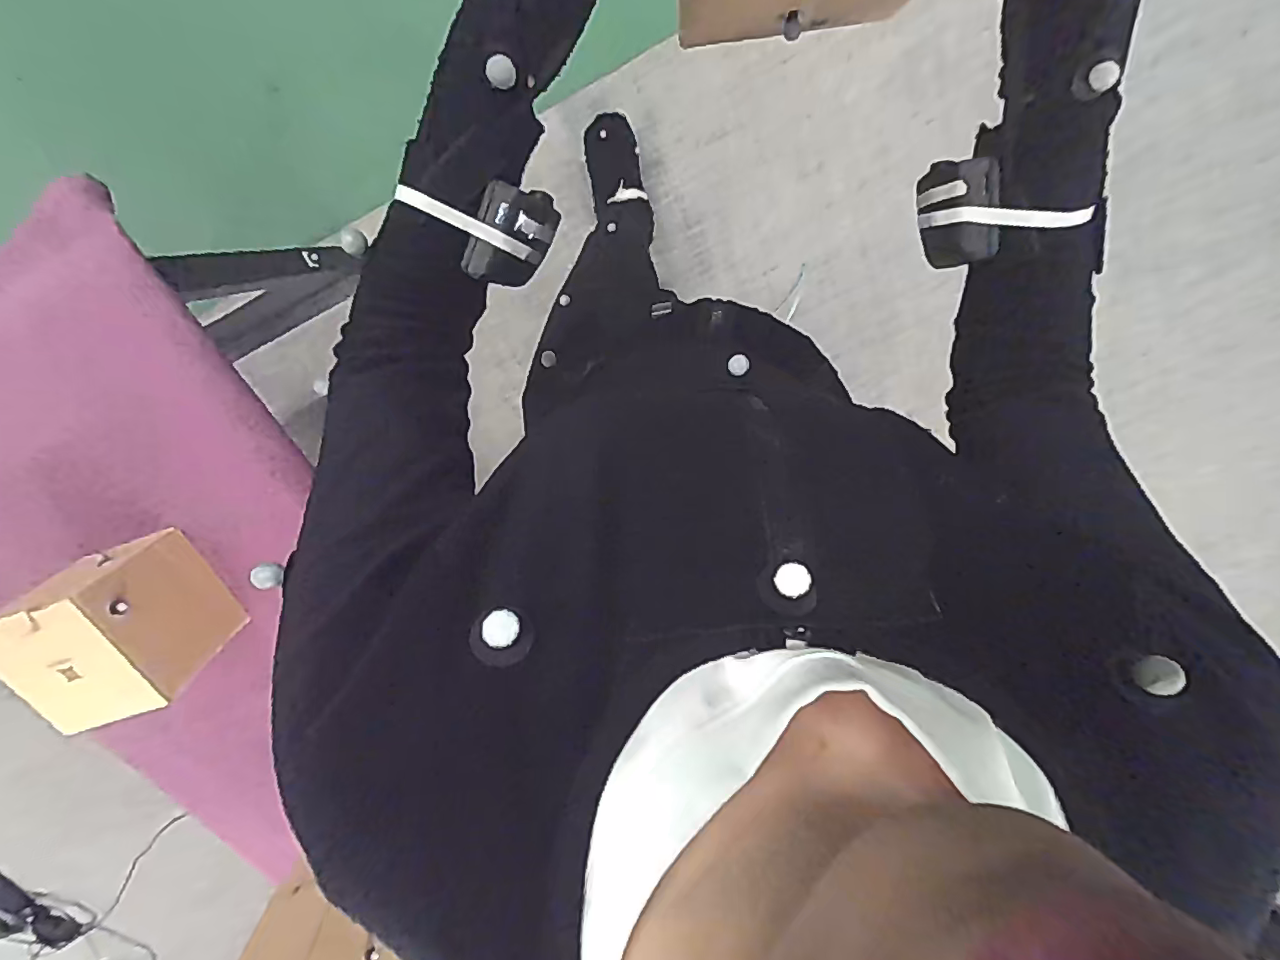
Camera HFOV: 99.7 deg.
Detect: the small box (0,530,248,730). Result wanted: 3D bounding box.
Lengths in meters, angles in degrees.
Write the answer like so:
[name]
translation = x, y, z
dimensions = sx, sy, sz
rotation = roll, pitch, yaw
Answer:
[small box]
translation = -0.695, 0.197, 0.734
dimensions = 0.168, 0.176, 0.179
rotation = -18, 113, 7
